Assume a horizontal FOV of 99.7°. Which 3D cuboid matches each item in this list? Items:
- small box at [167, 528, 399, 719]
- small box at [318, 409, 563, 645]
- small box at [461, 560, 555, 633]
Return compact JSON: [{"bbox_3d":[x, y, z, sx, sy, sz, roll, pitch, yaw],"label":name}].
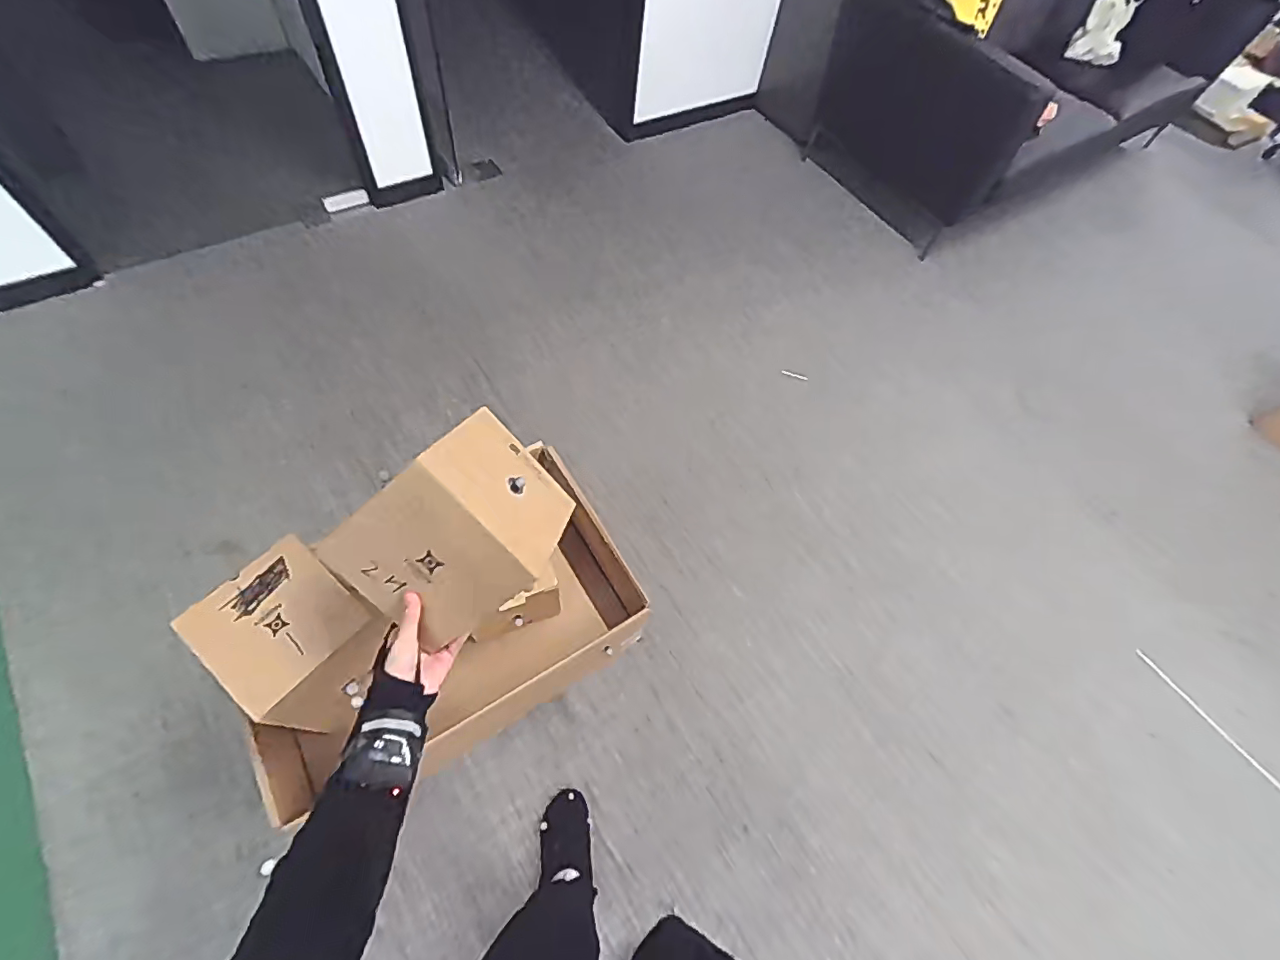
[{"bbox_3d":[-0.466,0.202,0.736,0.179,0.176,0.168,39,64,13],"label":"small box"},{"bbox_3d":[-0.207,0.044,0.618,0.168,0.179,0.176,50,19,-14],"label":"small box"},{"bbox_3d":[-0.254,0.163,0.976,0.168,0.176,0.179,-17,65,-16],"label":"small box"}]
